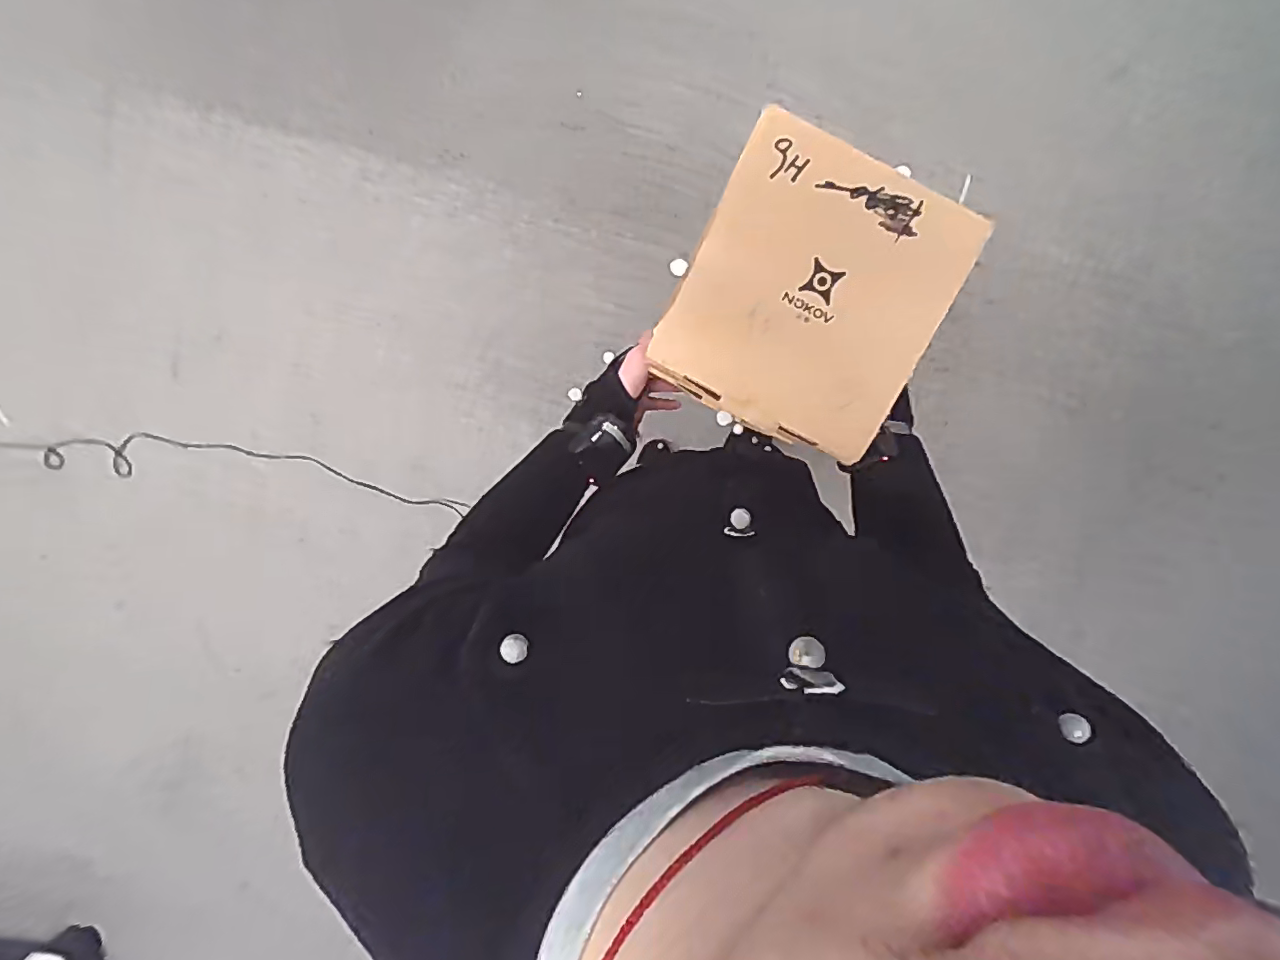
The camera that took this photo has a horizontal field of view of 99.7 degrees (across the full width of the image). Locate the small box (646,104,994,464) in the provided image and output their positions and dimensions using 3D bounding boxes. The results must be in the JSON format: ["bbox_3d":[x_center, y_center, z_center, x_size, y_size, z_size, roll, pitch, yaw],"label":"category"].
[{"bbox_3d":[0.118,-0.136,0.430,0.168,0.176,0.179,26,101,-3],"label":"small box"}]
